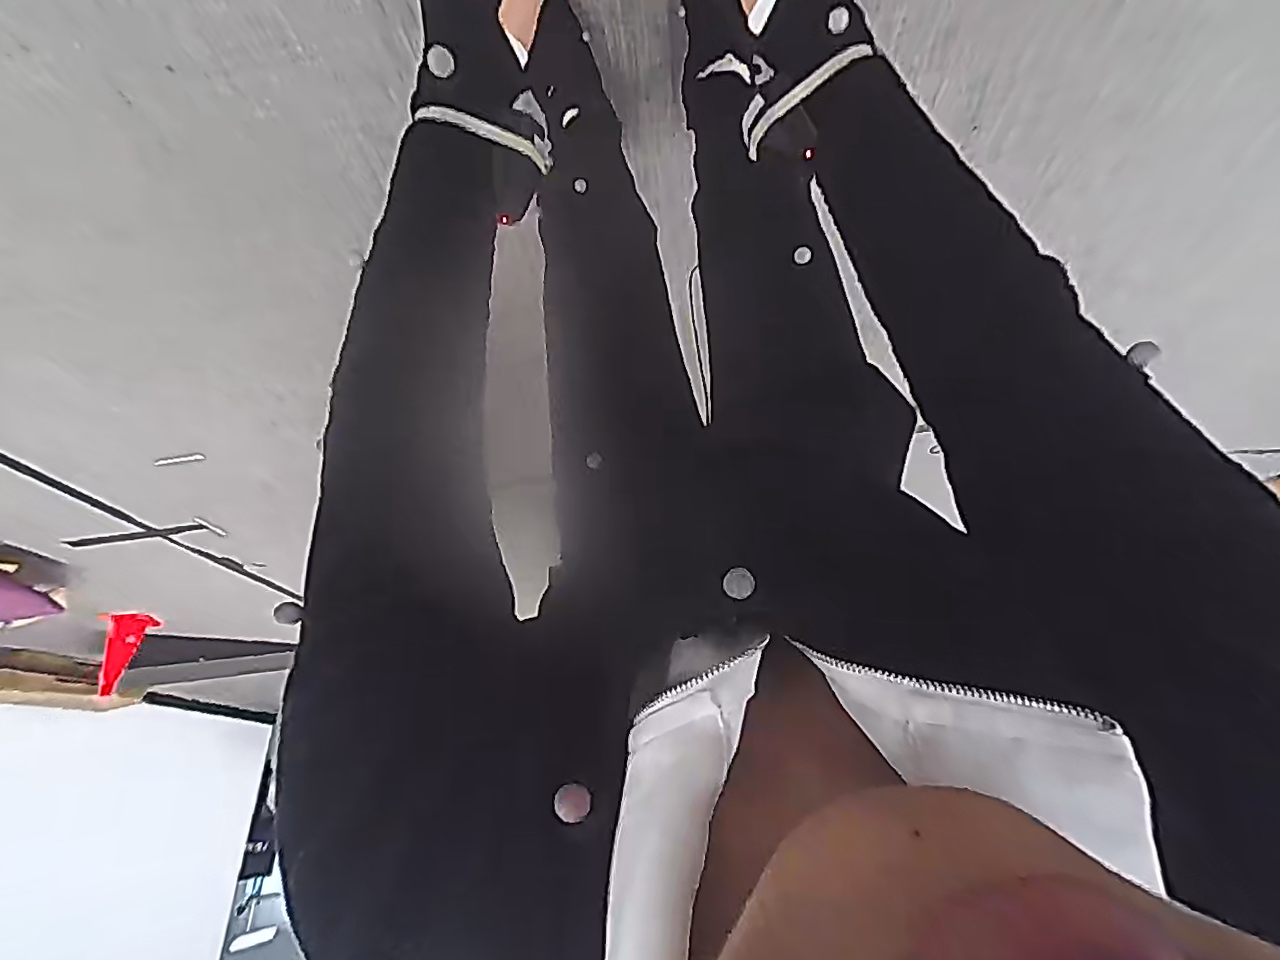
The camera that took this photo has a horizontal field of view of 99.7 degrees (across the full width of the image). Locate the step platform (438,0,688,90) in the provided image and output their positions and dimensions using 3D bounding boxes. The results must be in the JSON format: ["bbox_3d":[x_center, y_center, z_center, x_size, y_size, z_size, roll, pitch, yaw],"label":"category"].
[{"bbox_3d":[0.135,-0.586,0.456,0.684,0.204,0.286,-10,149,4],"label":"step platform"}]
